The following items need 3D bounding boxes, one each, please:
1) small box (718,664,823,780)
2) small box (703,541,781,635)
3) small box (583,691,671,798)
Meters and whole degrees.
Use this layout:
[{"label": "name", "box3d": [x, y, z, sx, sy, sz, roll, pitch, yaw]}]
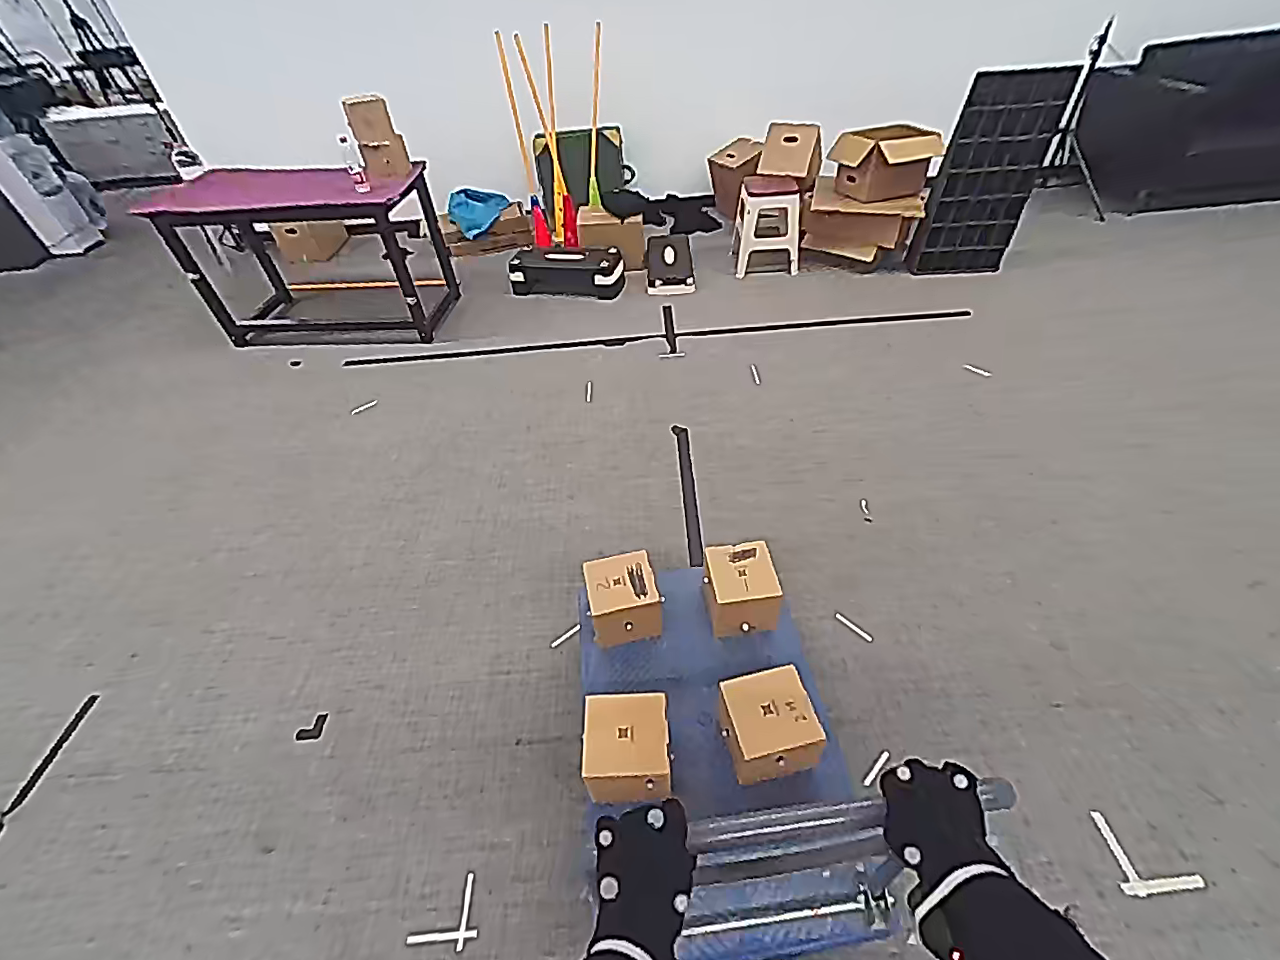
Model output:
[{"label": "small box", "box3d": [0.280, 0.539, 1.196, 0.179, 0.176, 0.168, -11, 45, -6]}, {"label": "small box", "box3d": [0.266, 0.290, 1.449, 0.168, 0.176, 0.179, -7, 46, -2]}, {"label": "small box", "box3d": [-0.024, 0.582, 1.182, 0.179, 0.176, 0.168, -3, 44, 0]}]
